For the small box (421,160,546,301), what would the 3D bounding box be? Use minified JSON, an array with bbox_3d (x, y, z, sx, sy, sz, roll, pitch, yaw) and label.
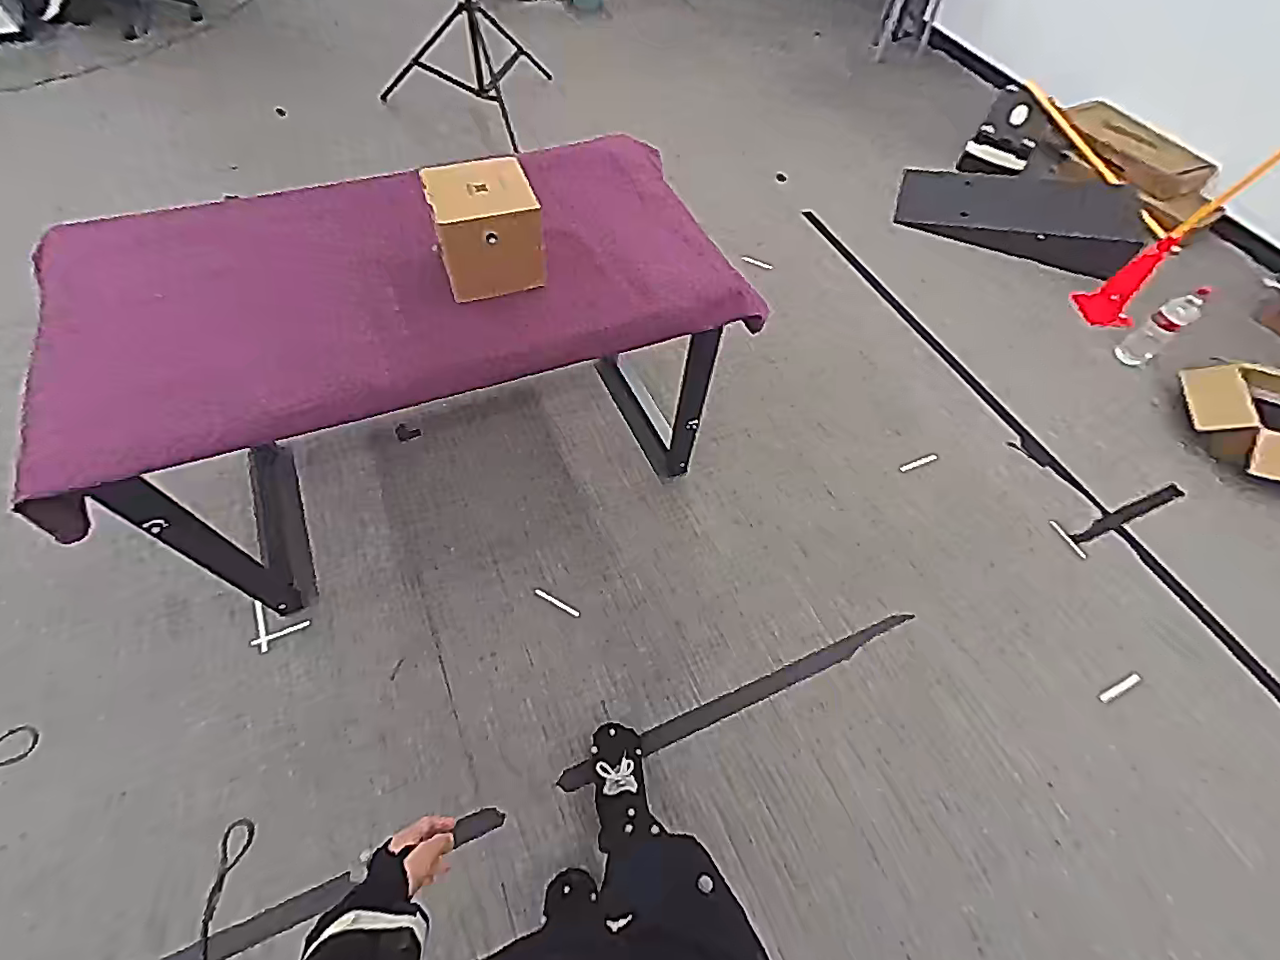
[{"bbox_3d":[-0.285,-0.458,1.007,0.179,0.176,0.168,-17,62,-15],"label":"small box"}]
